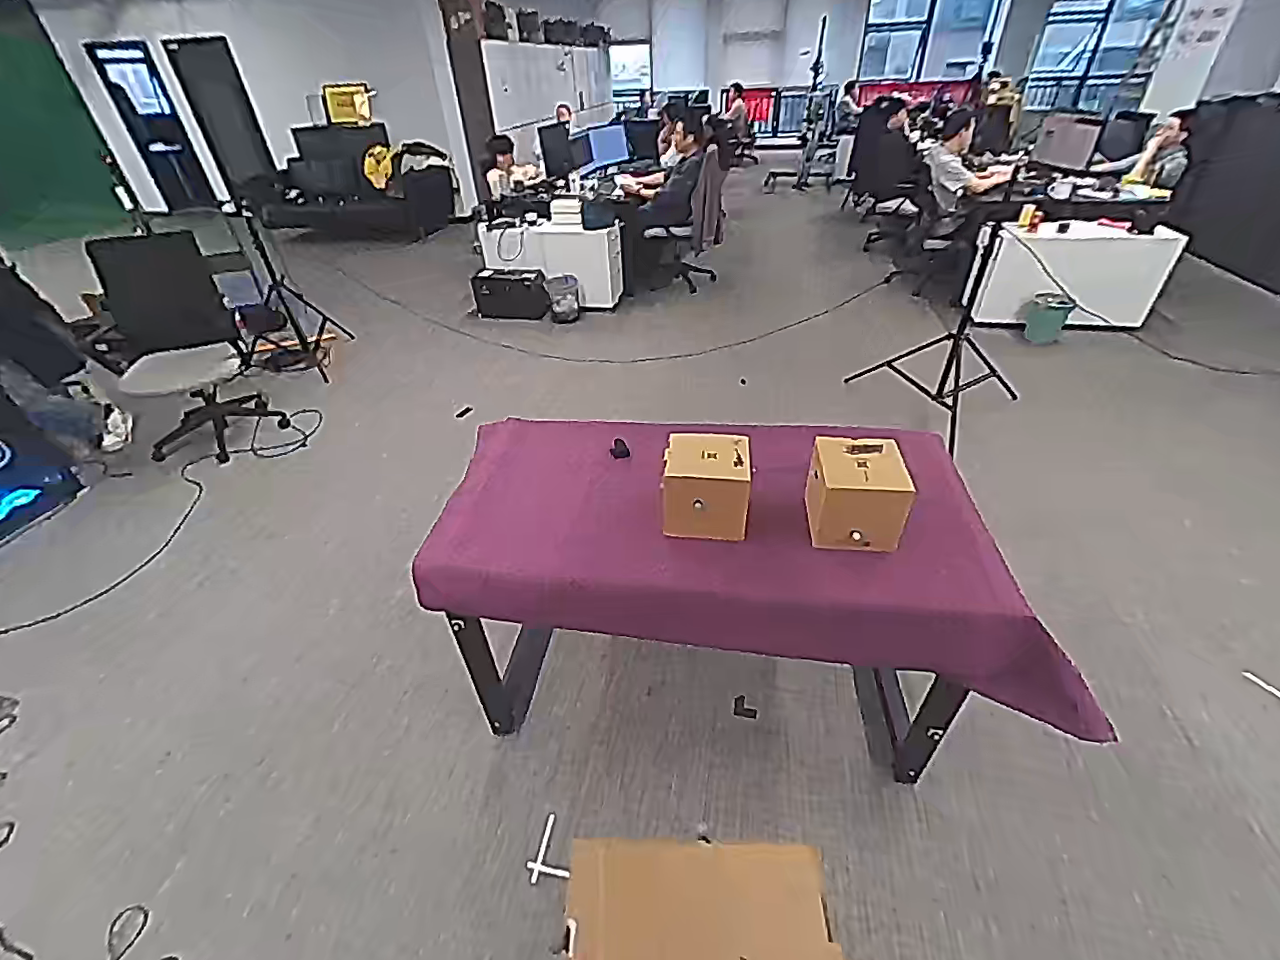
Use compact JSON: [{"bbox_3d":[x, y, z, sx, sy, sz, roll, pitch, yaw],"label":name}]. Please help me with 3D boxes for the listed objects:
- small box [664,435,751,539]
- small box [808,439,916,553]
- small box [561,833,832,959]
[{"bbox_3d":[0.150,0.015,1.190,0.179,0.176,0.168,2,37,8],"label":"small box"},{"bbox_3d":[0.457,0.031,1.146,0.168,0.176,0.179,2,38,8],"label":"small box"},{"bbox_3d":[0.035,0.380,0.429,0.179,0.176,0.168,7,54,-12],"label":"small box"}]
